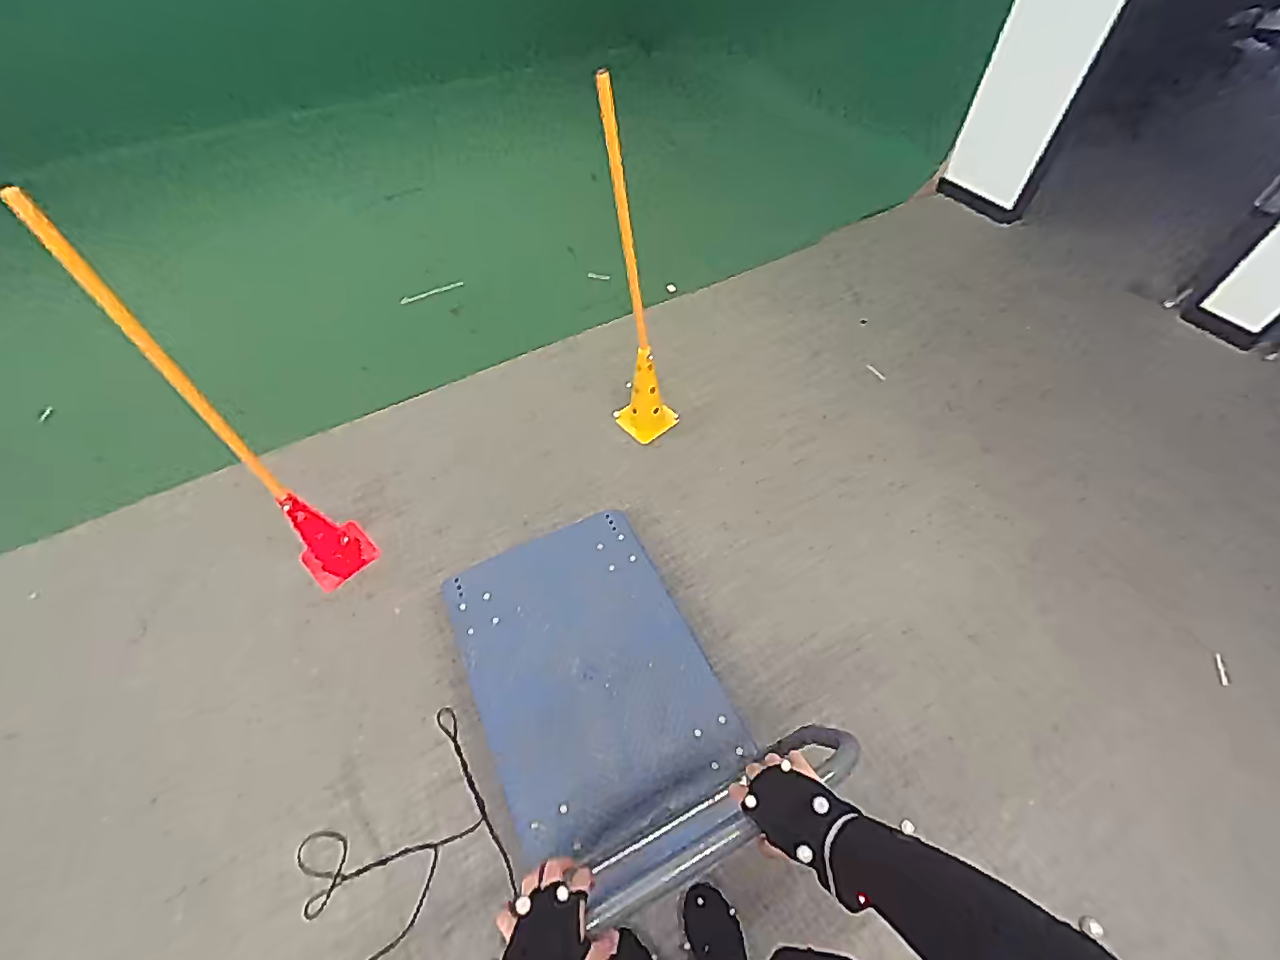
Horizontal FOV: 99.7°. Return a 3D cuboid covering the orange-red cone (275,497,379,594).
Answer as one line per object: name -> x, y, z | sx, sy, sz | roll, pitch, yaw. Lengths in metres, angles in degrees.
orange-red cone -> -1.001, 0.166, 1.661 | 0.198, 0.360, 0.199 | 38, 65, 26
